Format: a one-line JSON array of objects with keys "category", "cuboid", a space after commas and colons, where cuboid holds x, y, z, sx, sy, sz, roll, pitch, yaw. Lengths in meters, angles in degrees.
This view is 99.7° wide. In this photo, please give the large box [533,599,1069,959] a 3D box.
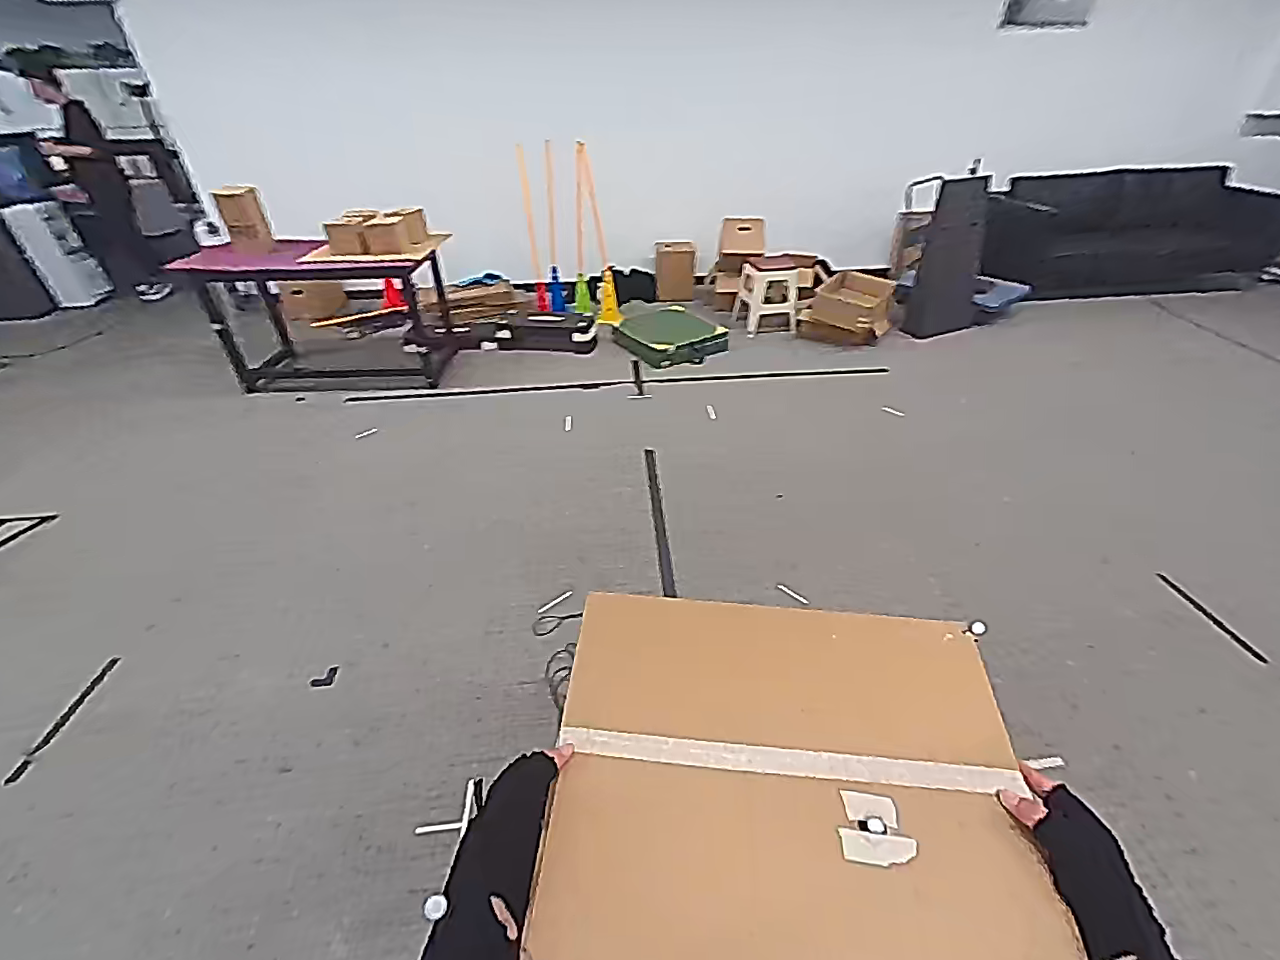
[{"category": "large box", "cuboid": [0.127, 0.356, 0.599, 0.408, 0.320, 0.320, 4, 47, 4]}]
